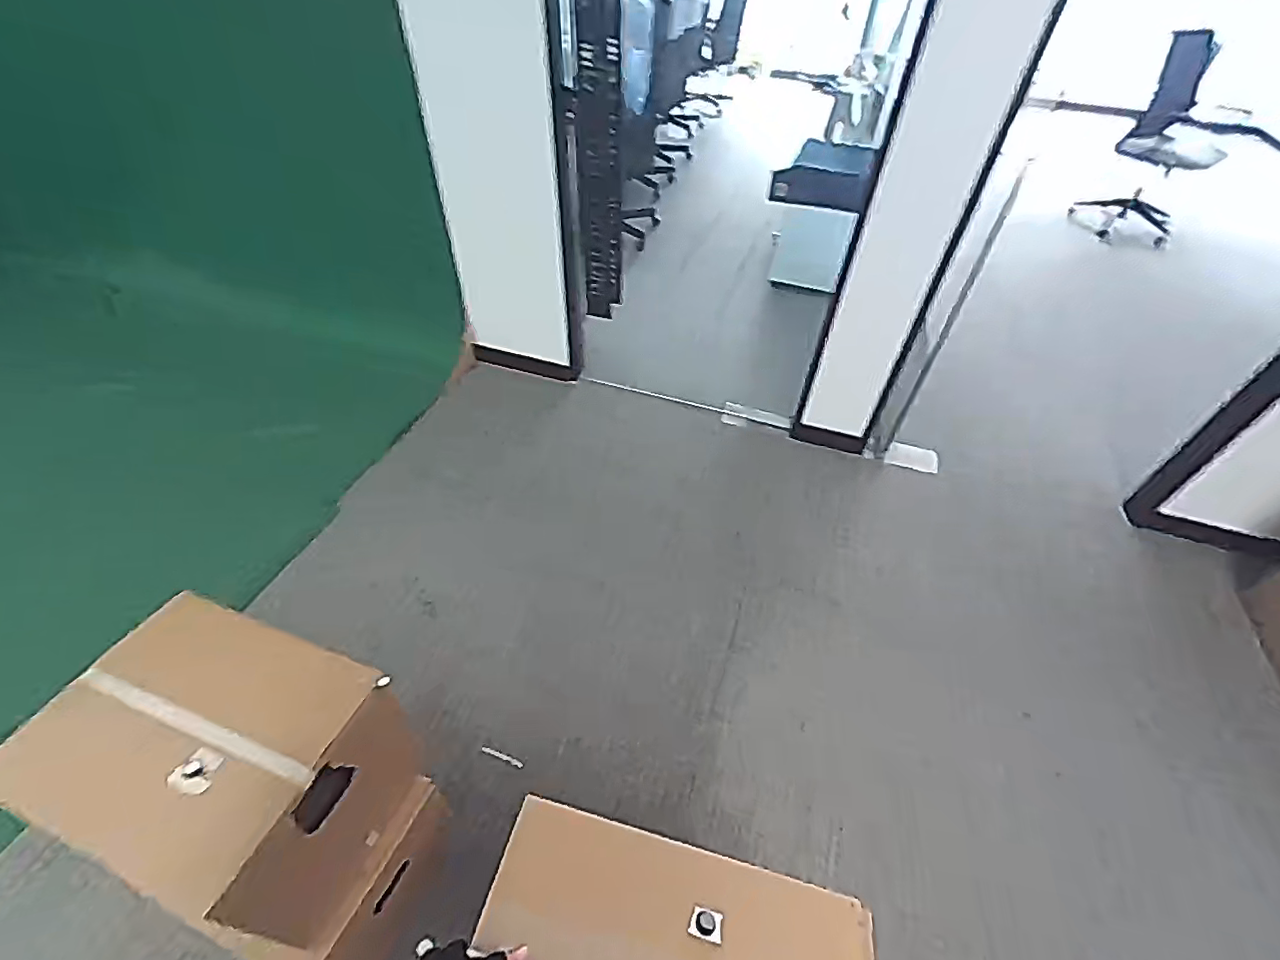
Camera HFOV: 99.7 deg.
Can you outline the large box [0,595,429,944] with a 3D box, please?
[{"bbox_3d":[-0.622,0.448,0.862,0.408,0.320,0.320,17,45,12],"label":"large box"}]
